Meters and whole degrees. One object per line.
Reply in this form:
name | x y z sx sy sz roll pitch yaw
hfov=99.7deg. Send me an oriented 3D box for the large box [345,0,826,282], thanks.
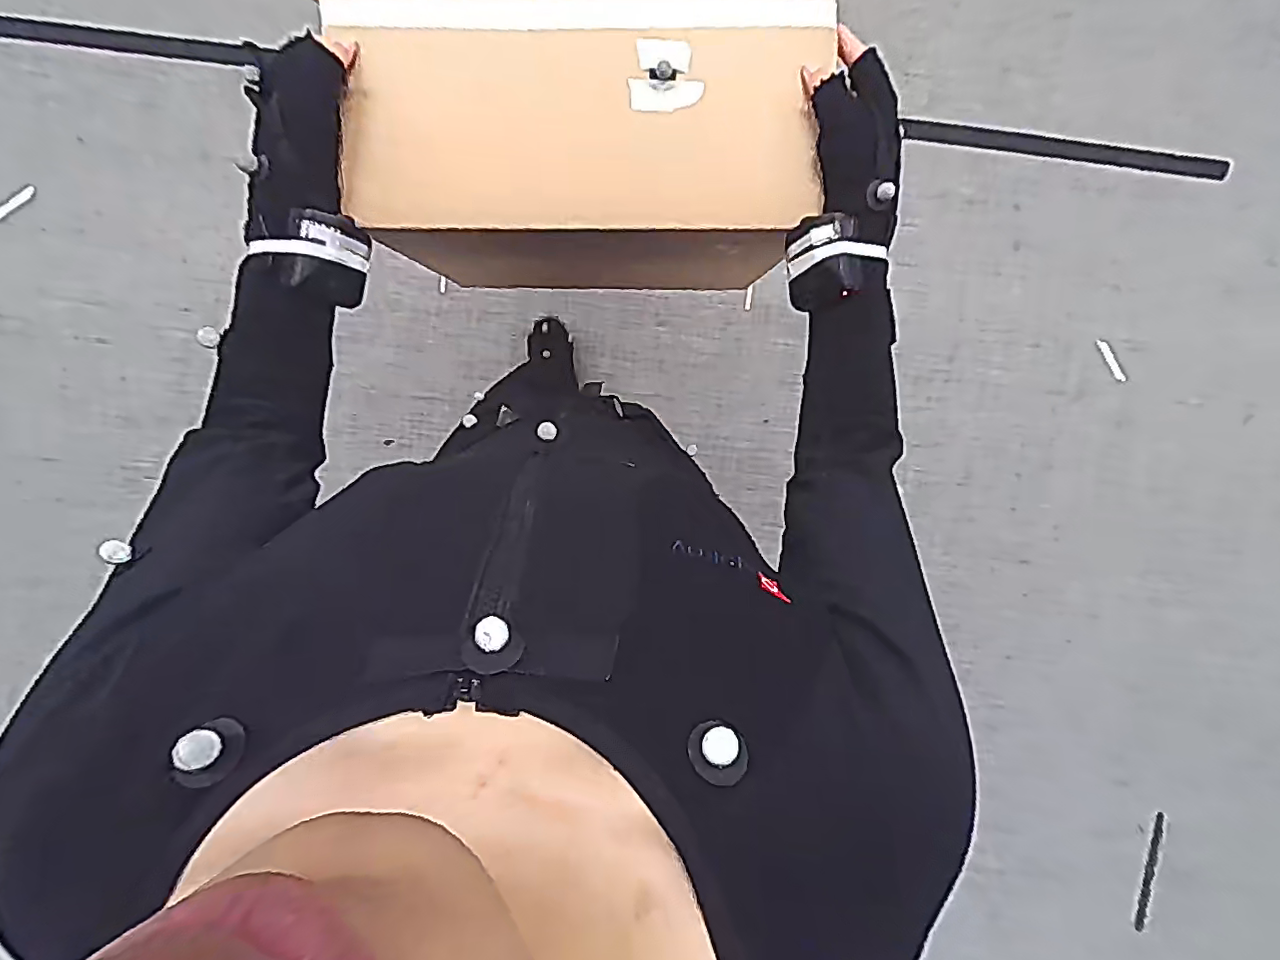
large box | -0.048 -0.407 0.591 0.408 0.320 0.320 -1 102 -1
